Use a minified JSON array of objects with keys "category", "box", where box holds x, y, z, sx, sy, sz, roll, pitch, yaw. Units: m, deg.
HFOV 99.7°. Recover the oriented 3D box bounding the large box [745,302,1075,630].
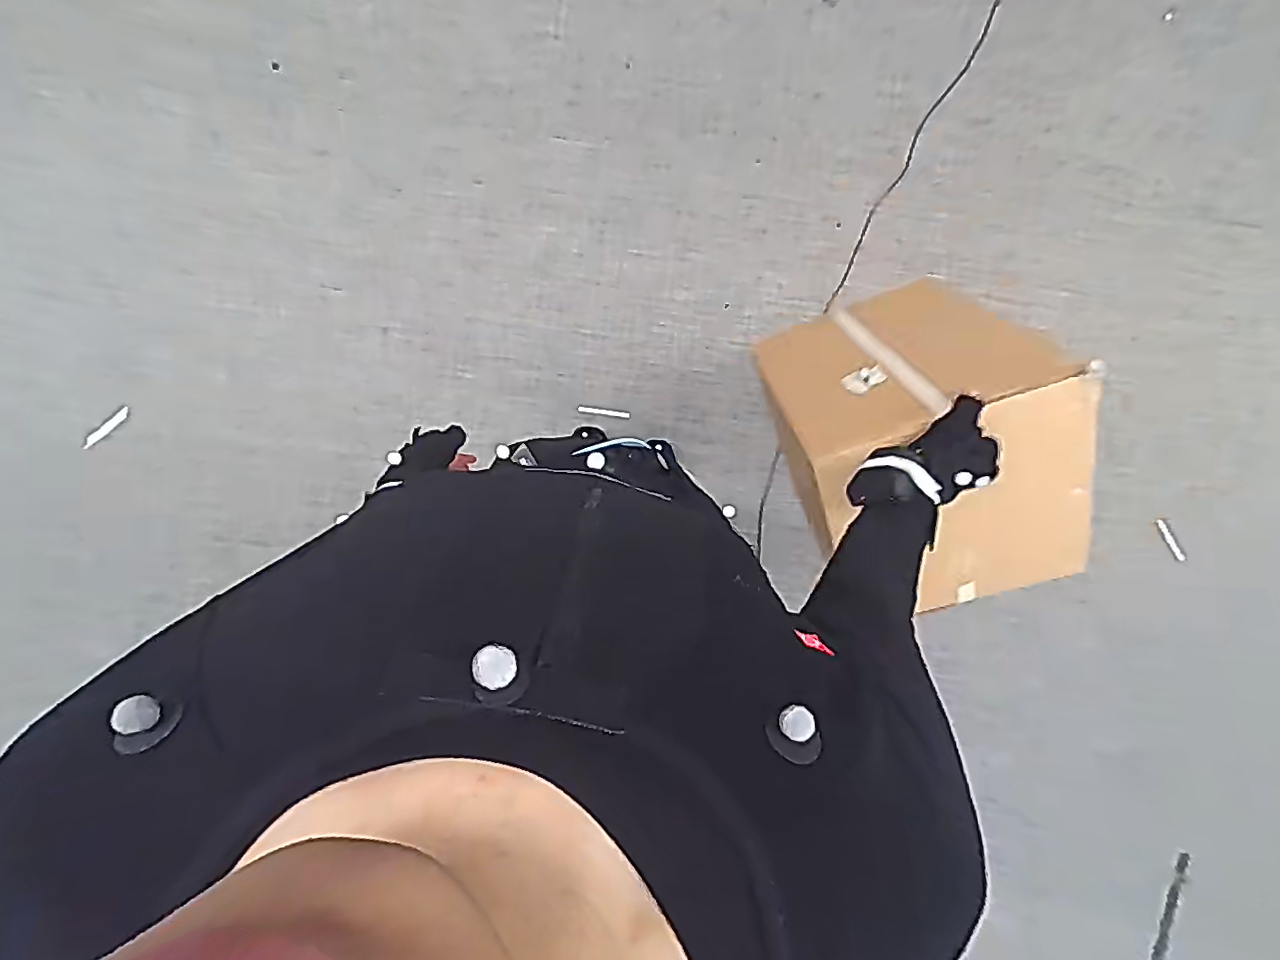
[{"category":"large box","box":[0.390,-0.040,0.871,0.320,0.408,0.320,-19,122,11]}]
